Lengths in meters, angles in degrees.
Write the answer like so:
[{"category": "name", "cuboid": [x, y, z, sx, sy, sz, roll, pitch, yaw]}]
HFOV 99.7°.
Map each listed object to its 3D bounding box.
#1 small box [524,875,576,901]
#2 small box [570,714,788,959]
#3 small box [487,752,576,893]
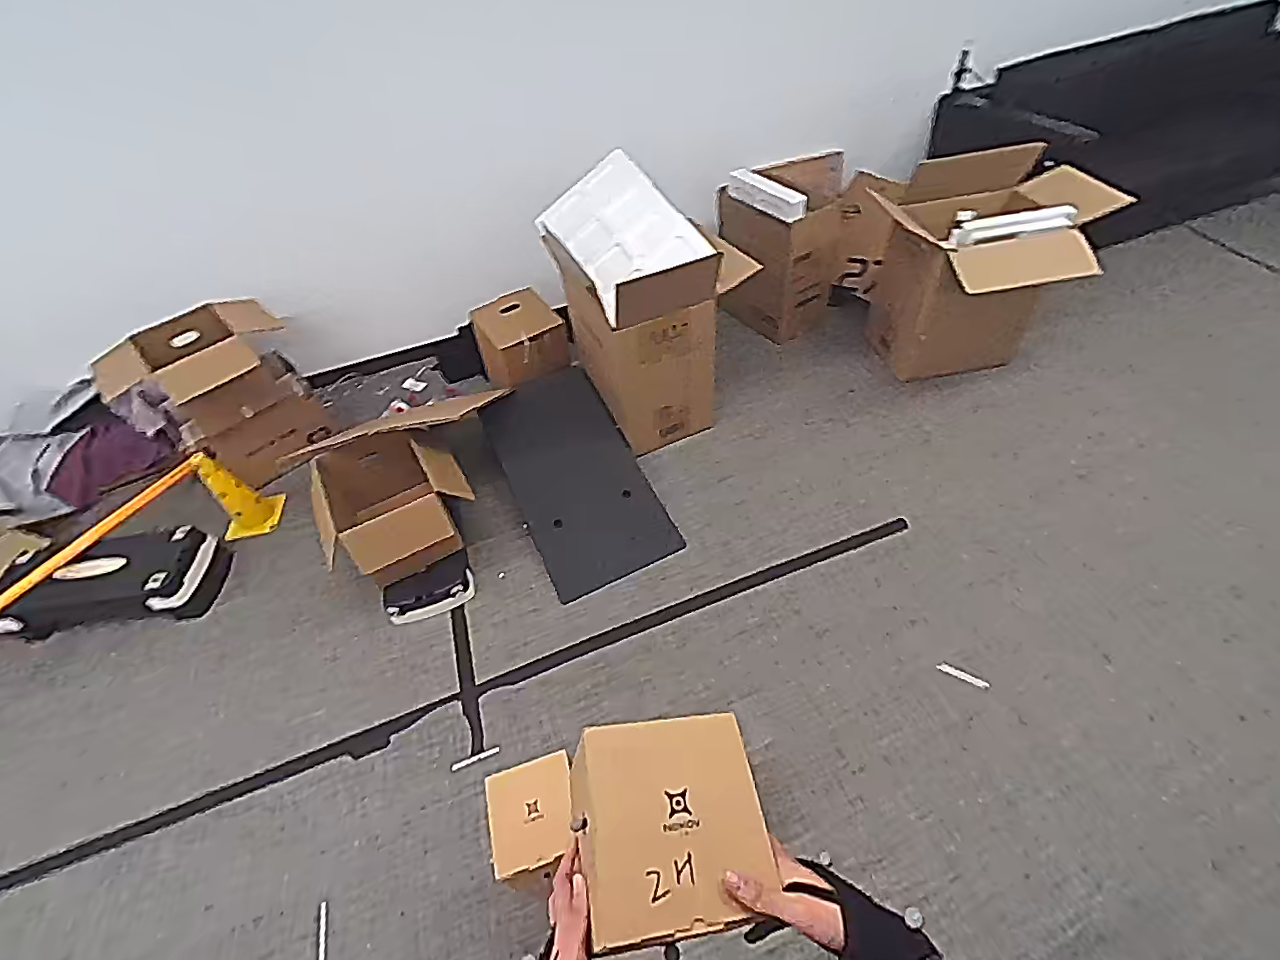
[{"category": "small box", "cuboid": [-0.164, 0.783, 1.177, 0.179, 0.176, 0.168, -17, 48, -11]}, {"category": "small box", "cuboid": [0.021, 0.365, 0.558, 0.168, 0.176, 0.179, 1, 47, -14]}, {"category": "small box", "cuboid": [-0.189, 0.673, 1.060, 0.168, 0.176, 0.179, -16, 49, -9]}]
